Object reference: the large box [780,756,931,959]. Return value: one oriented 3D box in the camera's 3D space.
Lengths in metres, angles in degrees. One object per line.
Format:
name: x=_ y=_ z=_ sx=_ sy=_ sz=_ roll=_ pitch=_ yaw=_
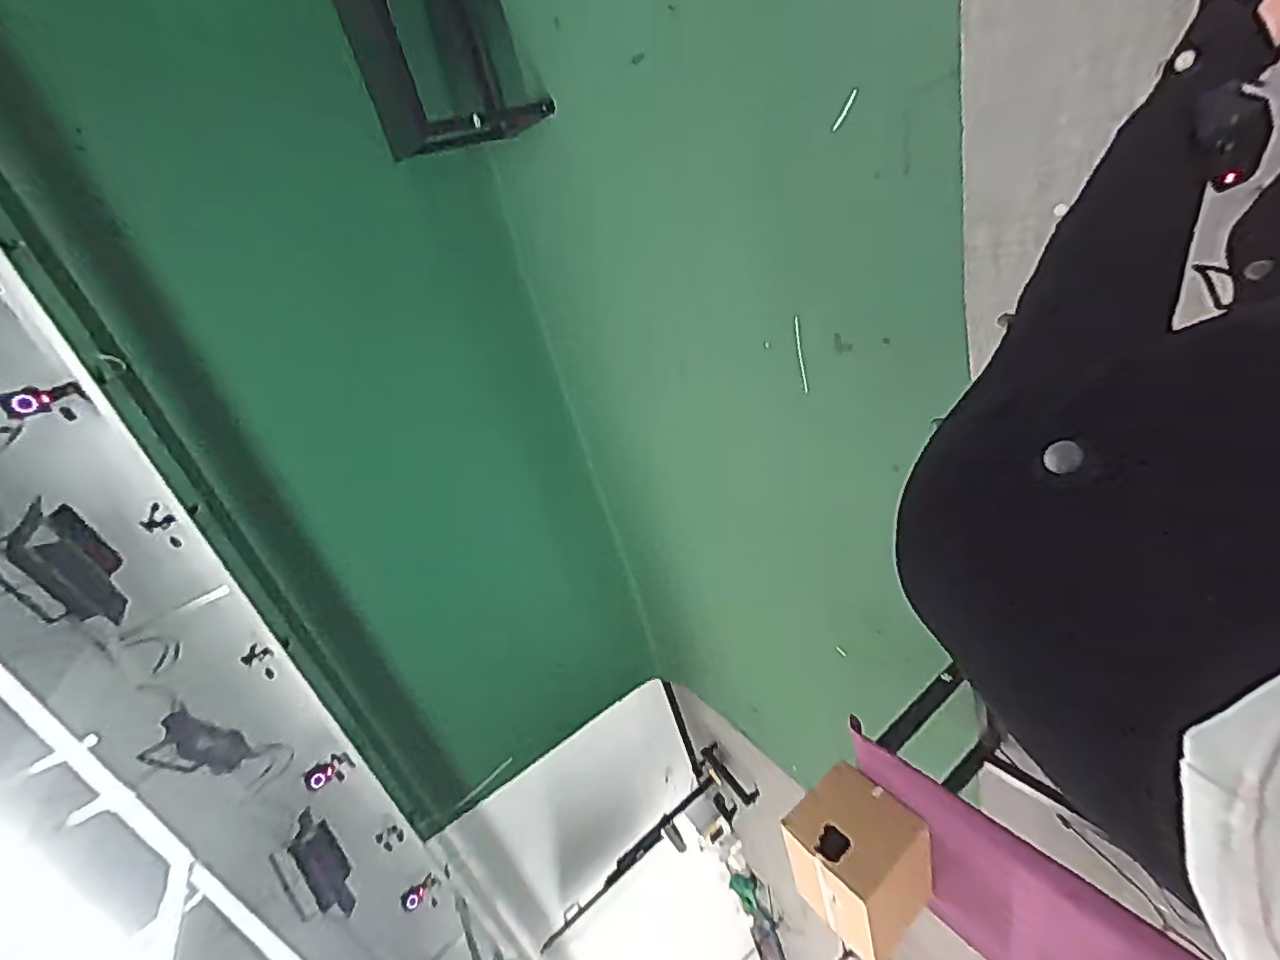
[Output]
large box: x=0.697 y=1.204 z=1.736 sx=0.320 sy=0.320 sz=0.408 roll=20 pitch=133 yaw=53
